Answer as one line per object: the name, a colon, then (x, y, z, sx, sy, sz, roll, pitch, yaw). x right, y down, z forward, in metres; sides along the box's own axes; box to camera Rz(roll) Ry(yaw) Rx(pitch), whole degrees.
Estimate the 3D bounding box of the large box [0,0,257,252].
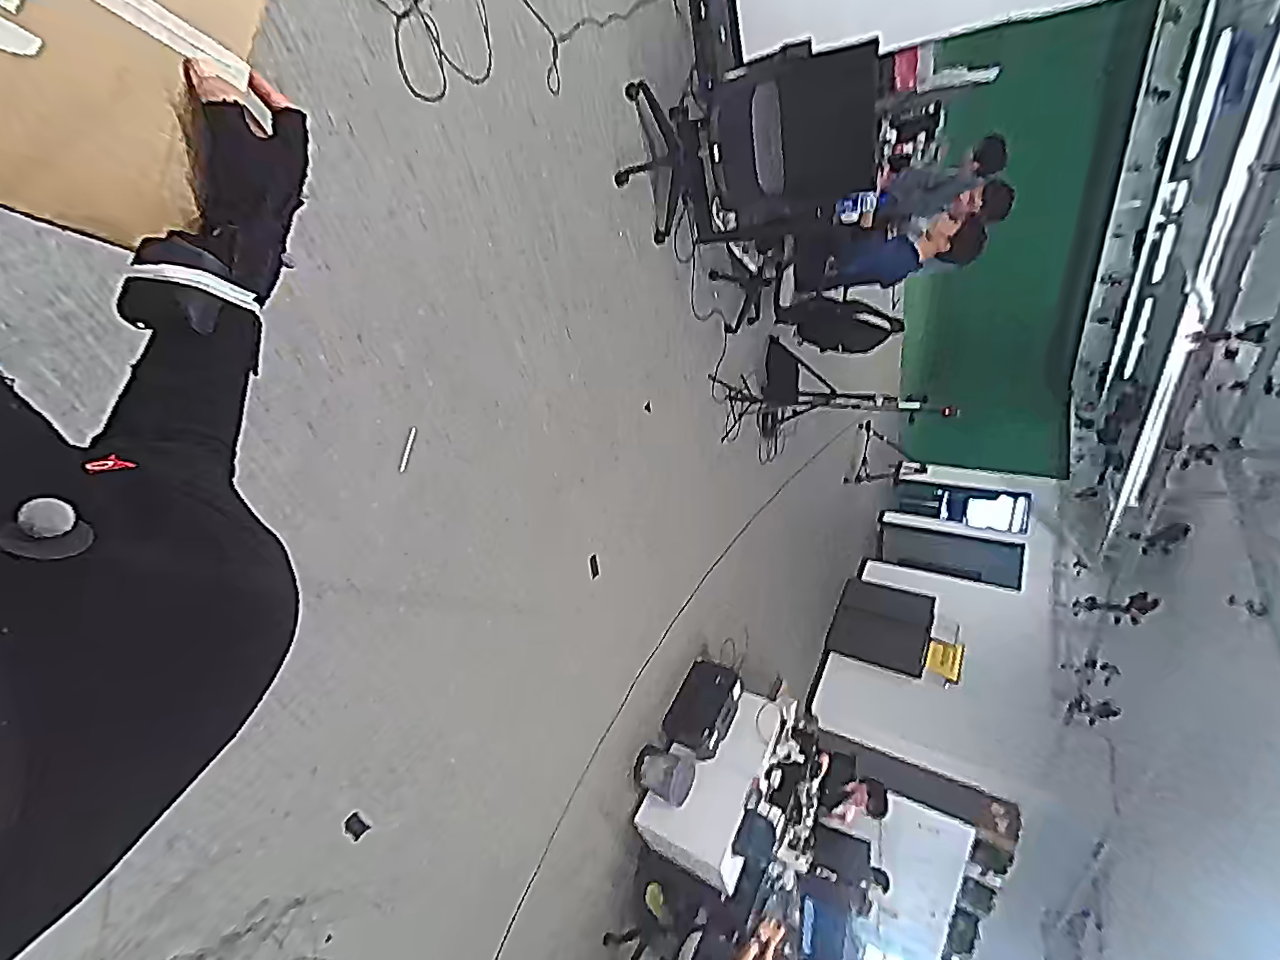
large box: (-0.547, -0.394, 0.344, 0.408, 0.320, 0.320, 9, 103, -59)
